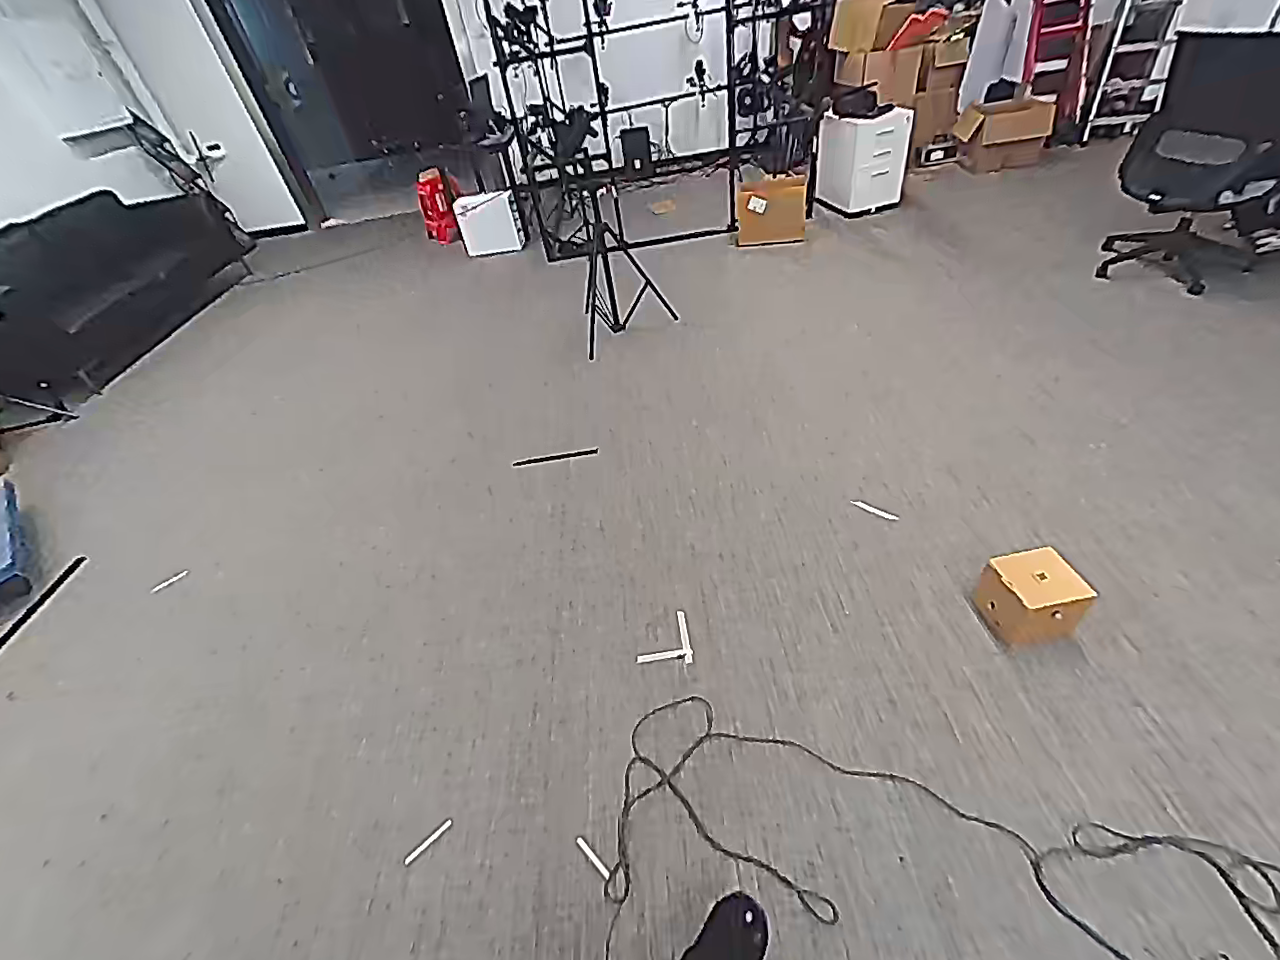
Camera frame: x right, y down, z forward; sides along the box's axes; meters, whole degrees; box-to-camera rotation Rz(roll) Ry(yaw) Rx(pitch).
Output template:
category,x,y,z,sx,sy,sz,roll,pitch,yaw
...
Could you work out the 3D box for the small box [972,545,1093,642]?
category,x,y,z,sx,sy,sz,roll,pitch,yaw
small box,1.019,0.301,1.423,0.179,0.176,0.168,-12,41,-1
